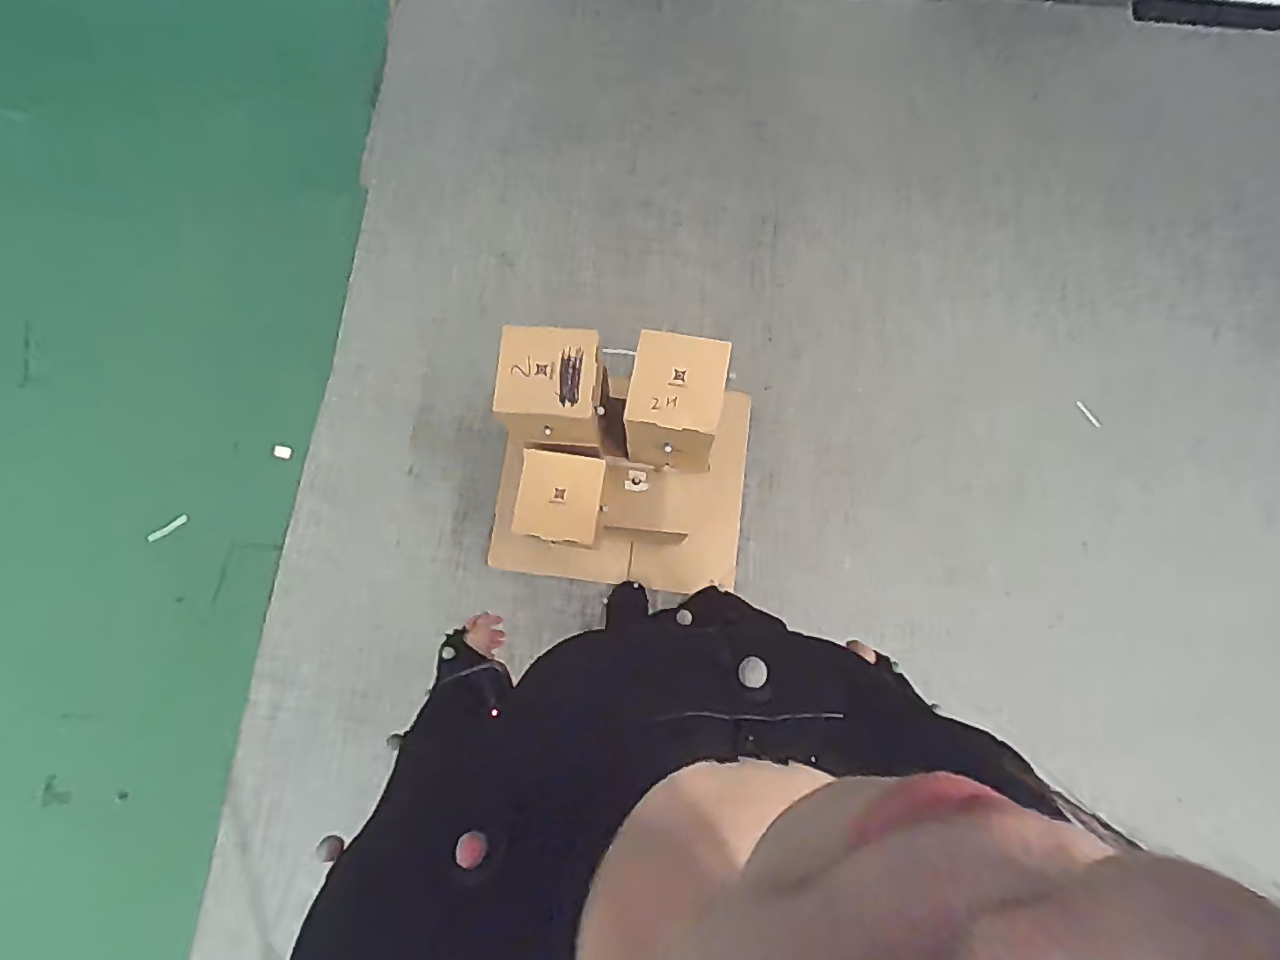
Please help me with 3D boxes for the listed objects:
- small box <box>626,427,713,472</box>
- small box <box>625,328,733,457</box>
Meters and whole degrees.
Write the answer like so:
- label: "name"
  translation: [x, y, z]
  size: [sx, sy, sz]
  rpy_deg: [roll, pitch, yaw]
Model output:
- label: "small box"
  translation: [0.072, -0.121, 1.179]
  size: [0.179, 0.176, 0.168]
  rpy_deg: [9, 79, 4]
- label: "small box"
  translation: [0.071, -0.157, 1.016]
  size: [0.168, 0.176, 0.179]
  rpy_deg: [10, 79, 5]
